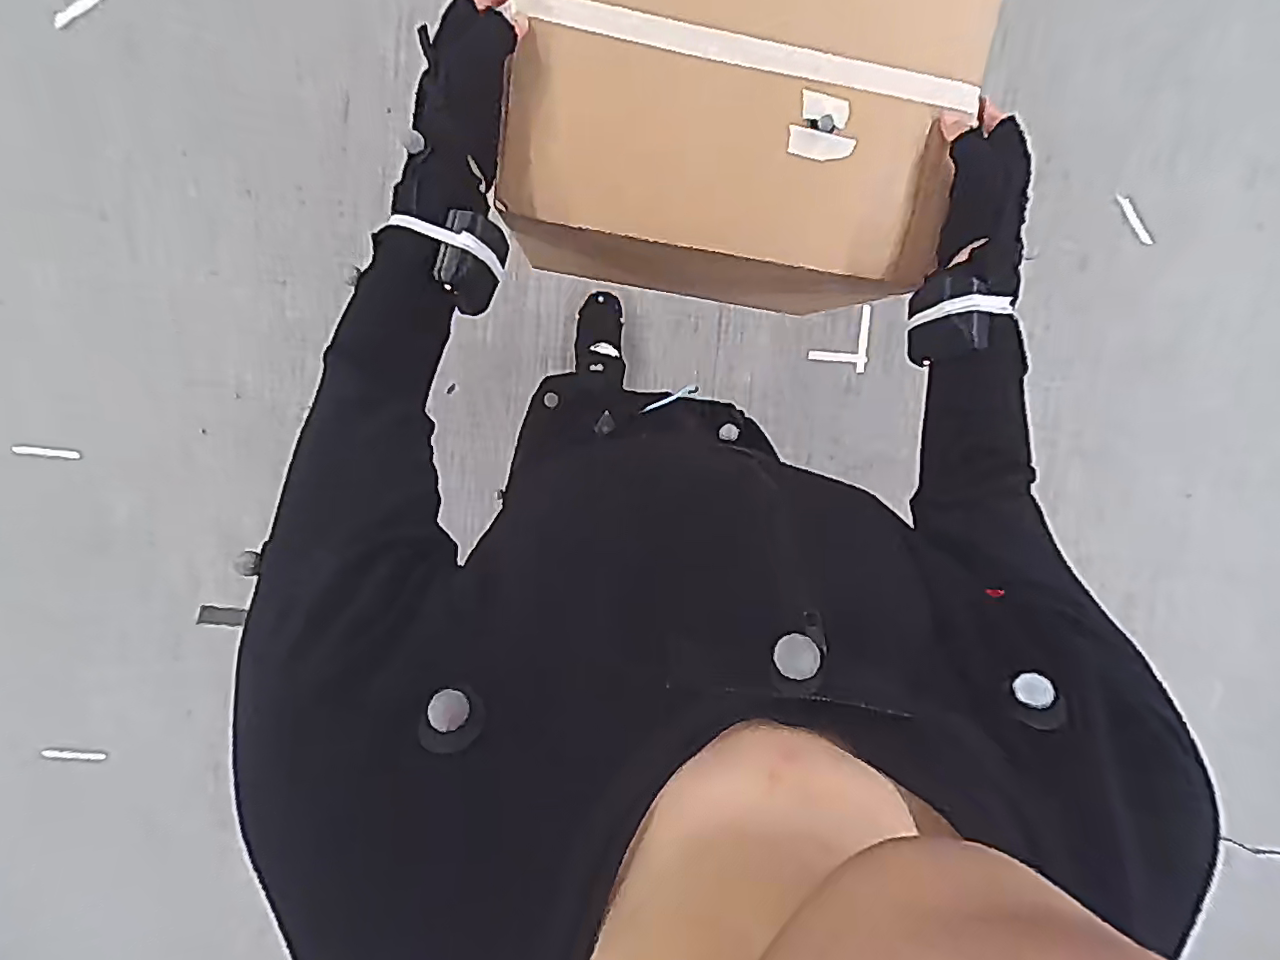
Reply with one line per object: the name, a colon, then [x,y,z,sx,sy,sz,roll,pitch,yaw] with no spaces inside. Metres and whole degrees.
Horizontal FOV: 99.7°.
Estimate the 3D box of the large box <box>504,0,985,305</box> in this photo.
large box: [0.079,-0.398,0.610,0.408,0.320,0.320,7,103,-8]
